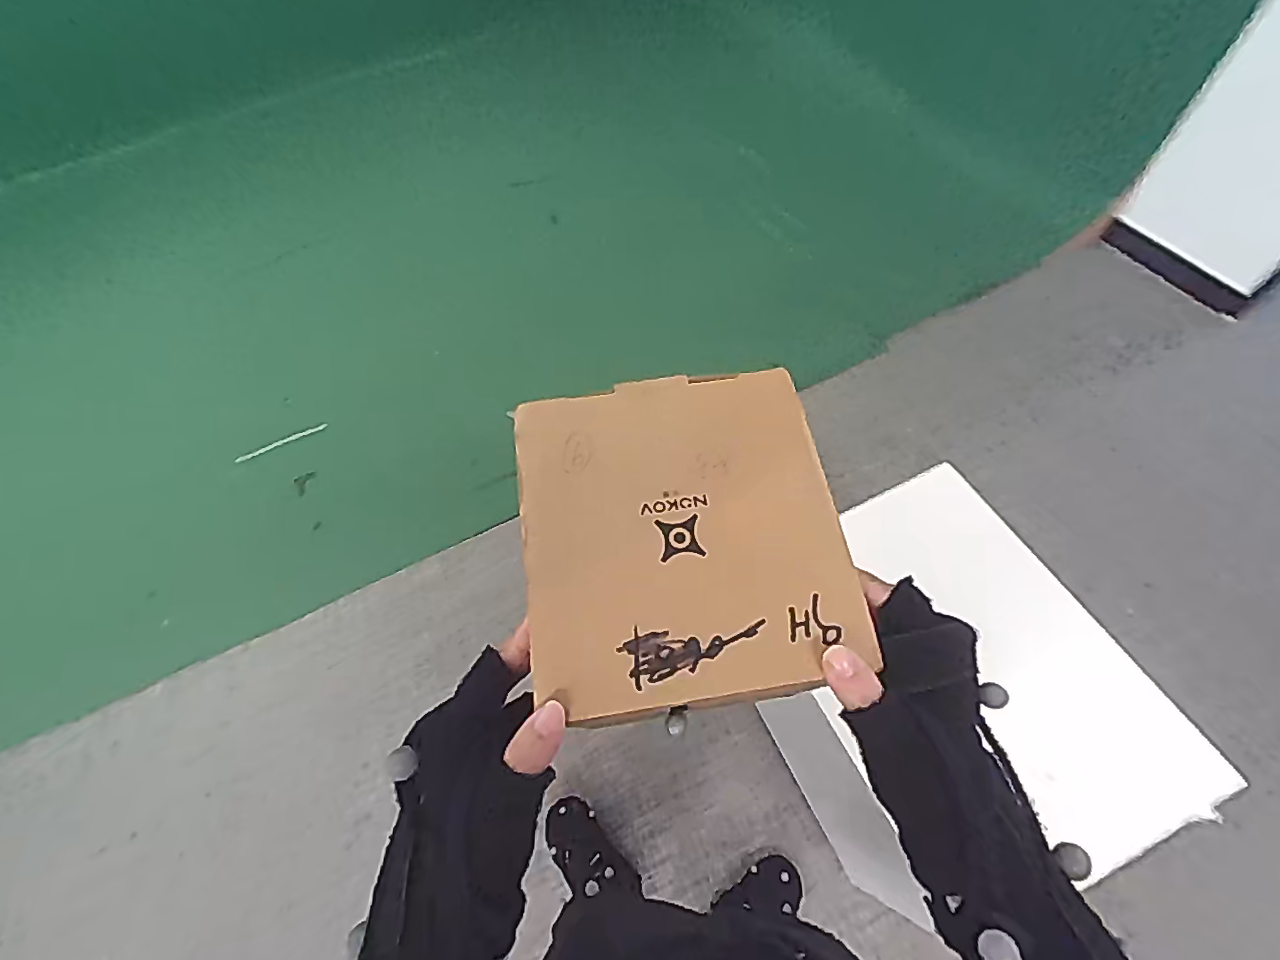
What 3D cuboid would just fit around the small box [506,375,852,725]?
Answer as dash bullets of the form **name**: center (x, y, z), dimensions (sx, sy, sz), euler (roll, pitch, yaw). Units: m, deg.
- **small box**: center (0.013, 0.058, 0.366), dimensions (0.168, 0.176, 0.179), euler (-9, 65, -2)
